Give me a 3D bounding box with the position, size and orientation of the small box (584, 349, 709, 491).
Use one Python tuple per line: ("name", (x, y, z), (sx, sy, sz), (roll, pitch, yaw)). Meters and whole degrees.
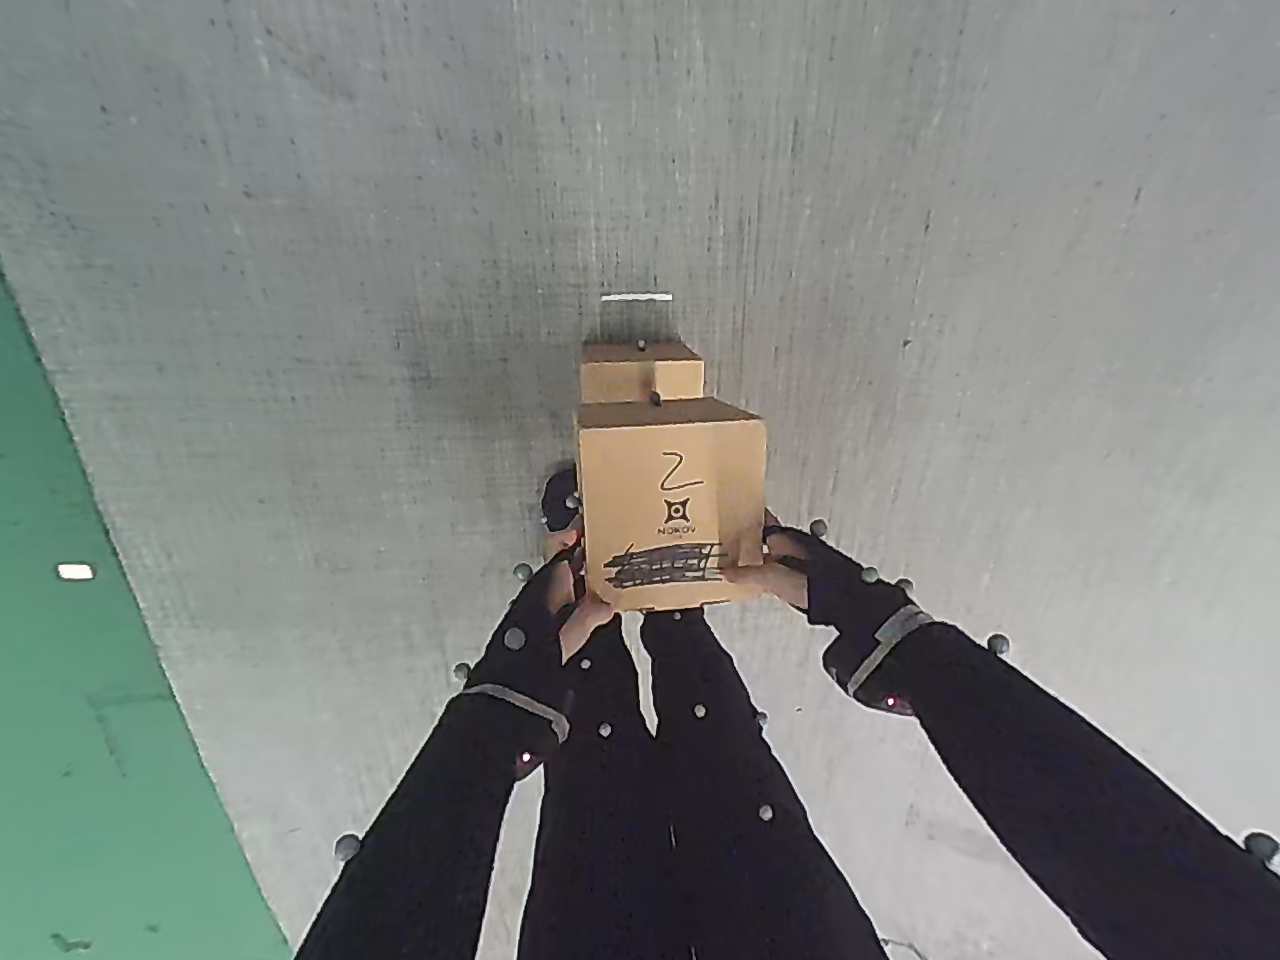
("small box", (0.000, -0.097, 0.805), (0.168, 0.176, 0.179), (-1, 113, -5))
